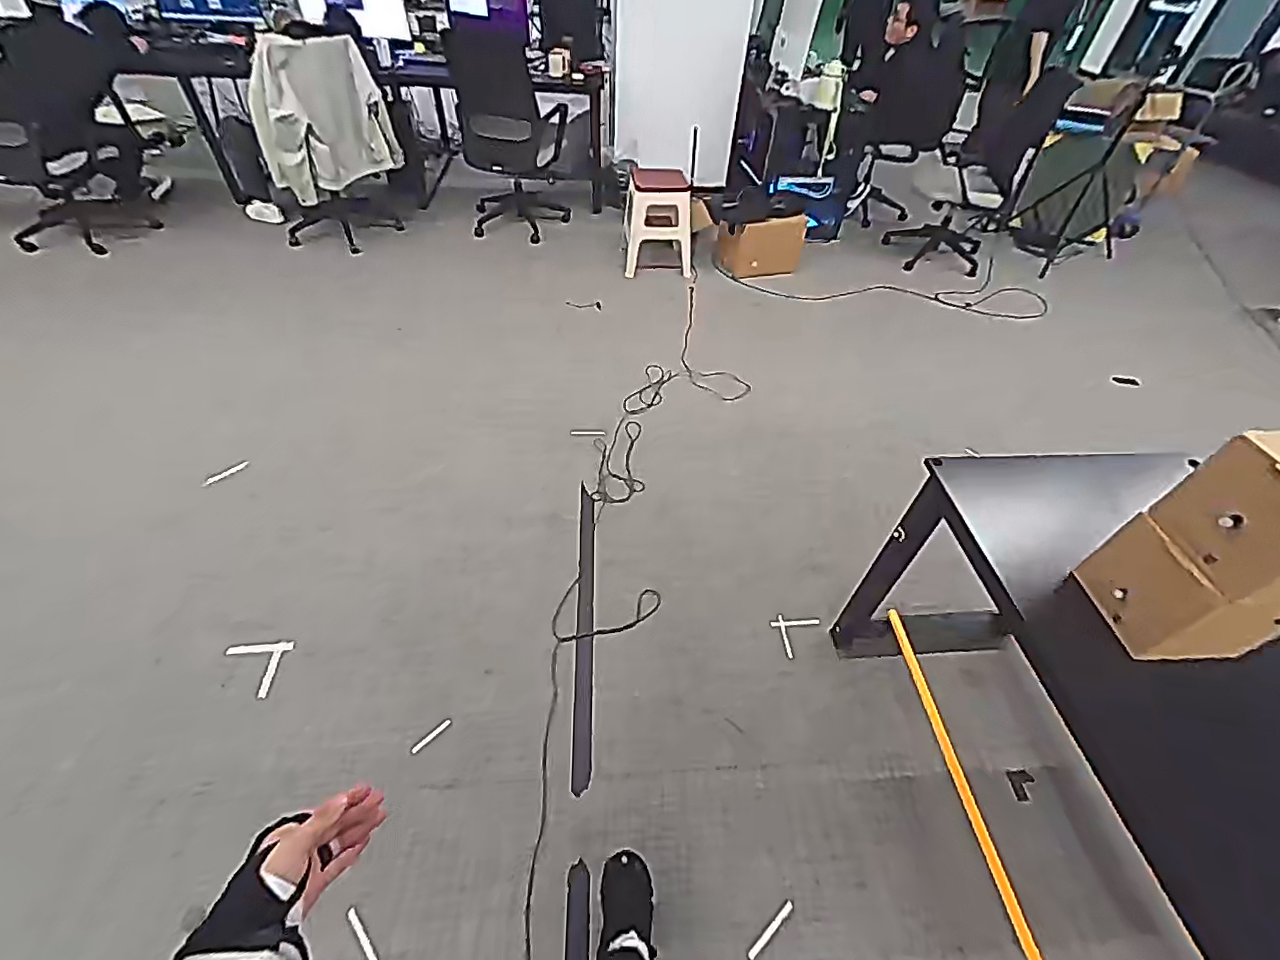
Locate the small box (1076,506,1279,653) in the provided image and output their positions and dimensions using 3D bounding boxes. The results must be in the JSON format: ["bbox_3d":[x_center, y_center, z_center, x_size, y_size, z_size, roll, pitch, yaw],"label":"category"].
[{"bbox_3d":[0.846,0.156,0.837,0.179,0.176,0.168,-1,47,-4],"label":"small box"}]

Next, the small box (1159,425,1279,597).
[{"bbox_3d":[0.862,0.042,0.720,0.179,0.176,0.168,-3,47,-6],"label":"small box"}]
